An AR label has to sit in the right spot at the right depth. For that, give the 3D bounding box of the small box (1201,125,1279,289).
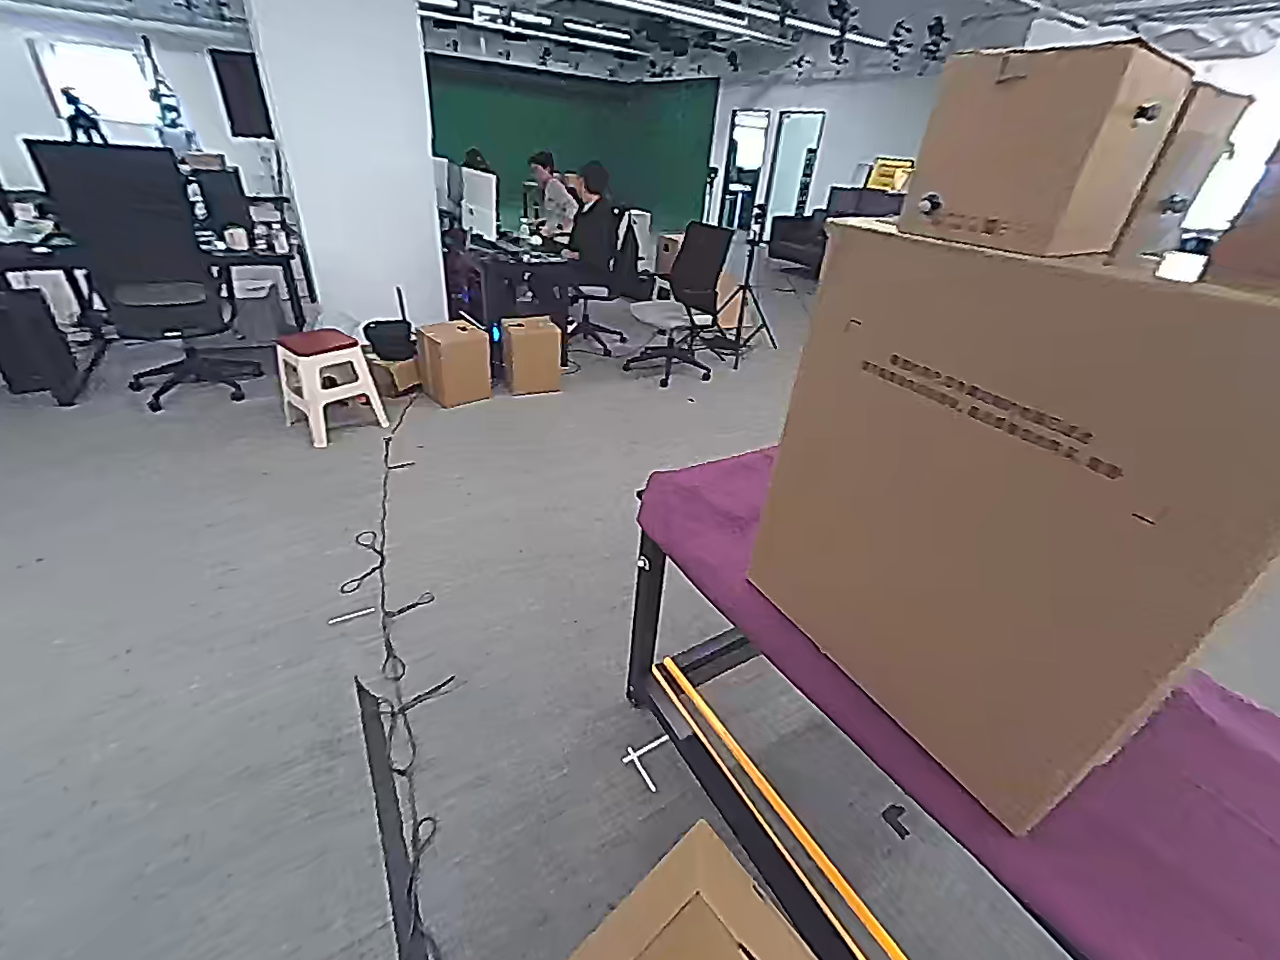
[{"bbox_3d":[0.713,-0.270,0.517,0.168,0.176,0.179,-17,36,-32],"label":"small box"}]
